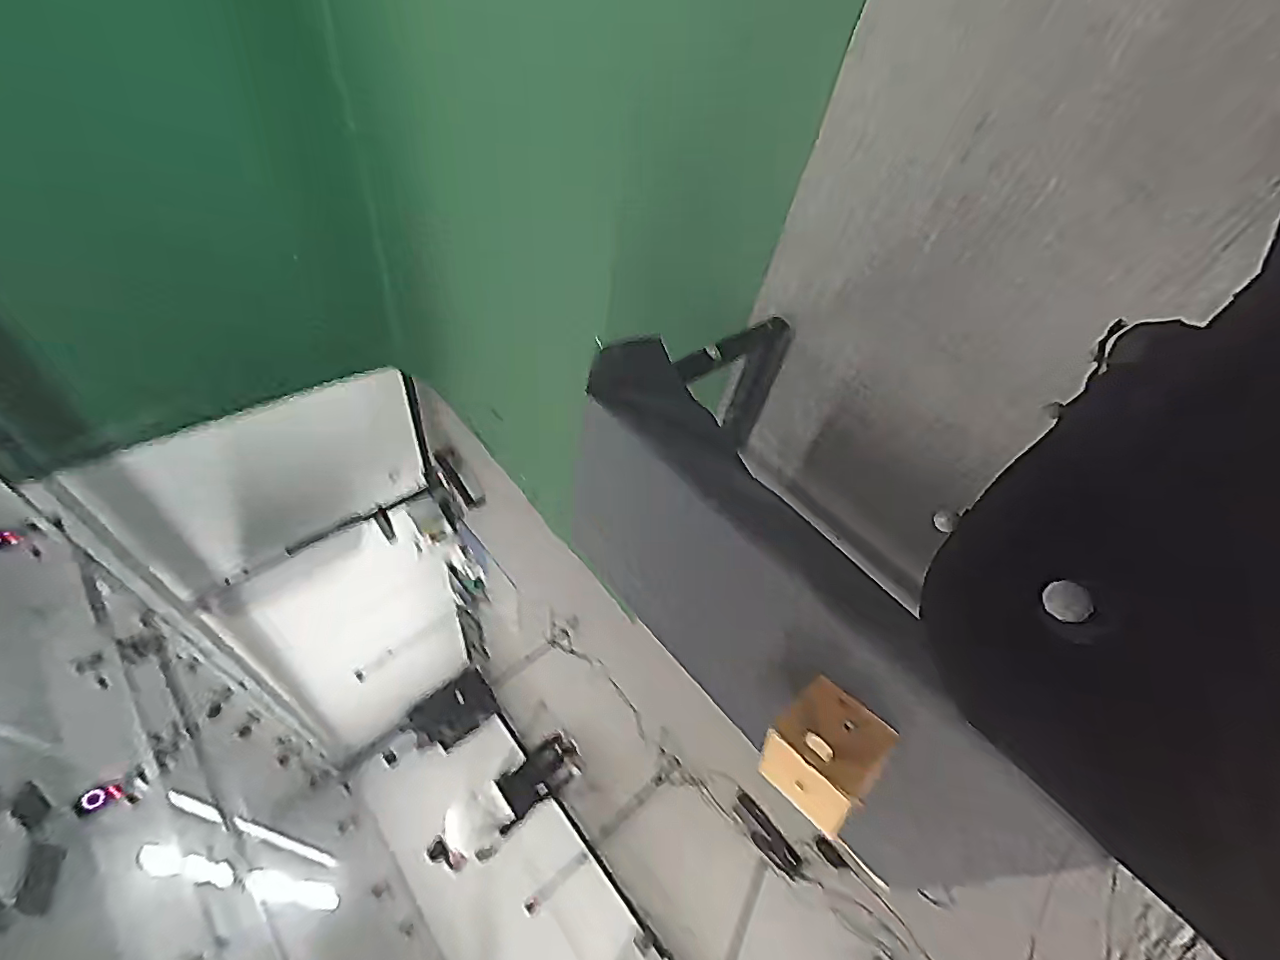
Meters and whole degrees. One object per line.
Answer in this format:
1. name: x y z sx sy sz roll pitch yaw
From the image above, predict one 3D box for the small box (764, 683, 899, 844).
1. small box: 0.361 0.530 1.024 0.168 0.176 0.179 34 139 37
